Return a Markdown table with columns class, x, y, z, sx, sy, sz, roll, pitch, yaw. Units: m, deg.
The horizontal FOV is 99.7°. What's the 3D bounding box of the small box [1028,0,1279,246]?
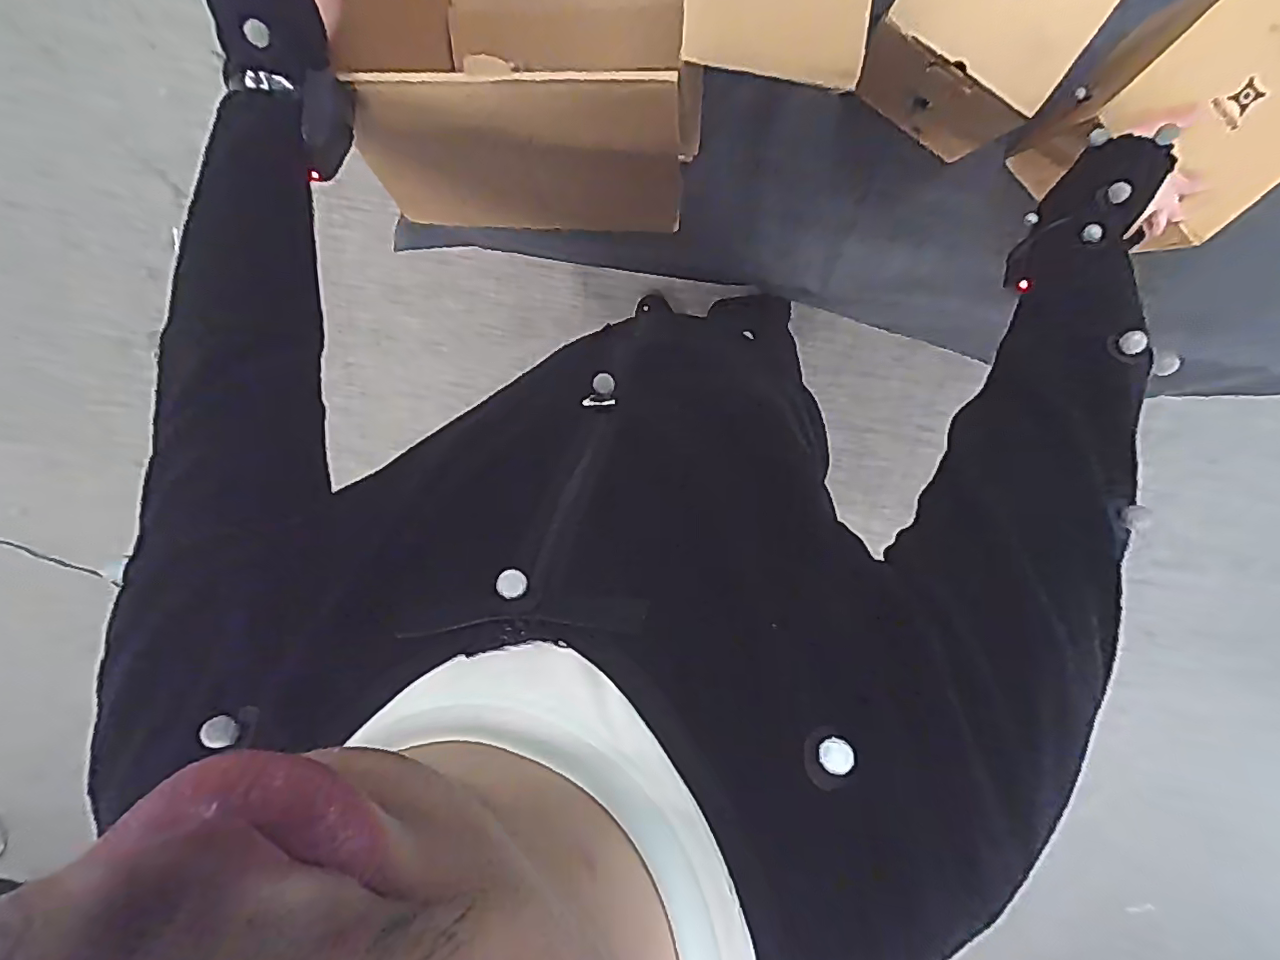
| class | x | y | z | sx | sy | sz | roll | pitch | yaw |
| --- | --- | --- | --- | --- | --- | --- | --- | --- | --- |
| small box | 0.545 | -0.363 | 0.550 | 0.168 | 0.176 | 0.179 | 41 | 108 | -8 |
